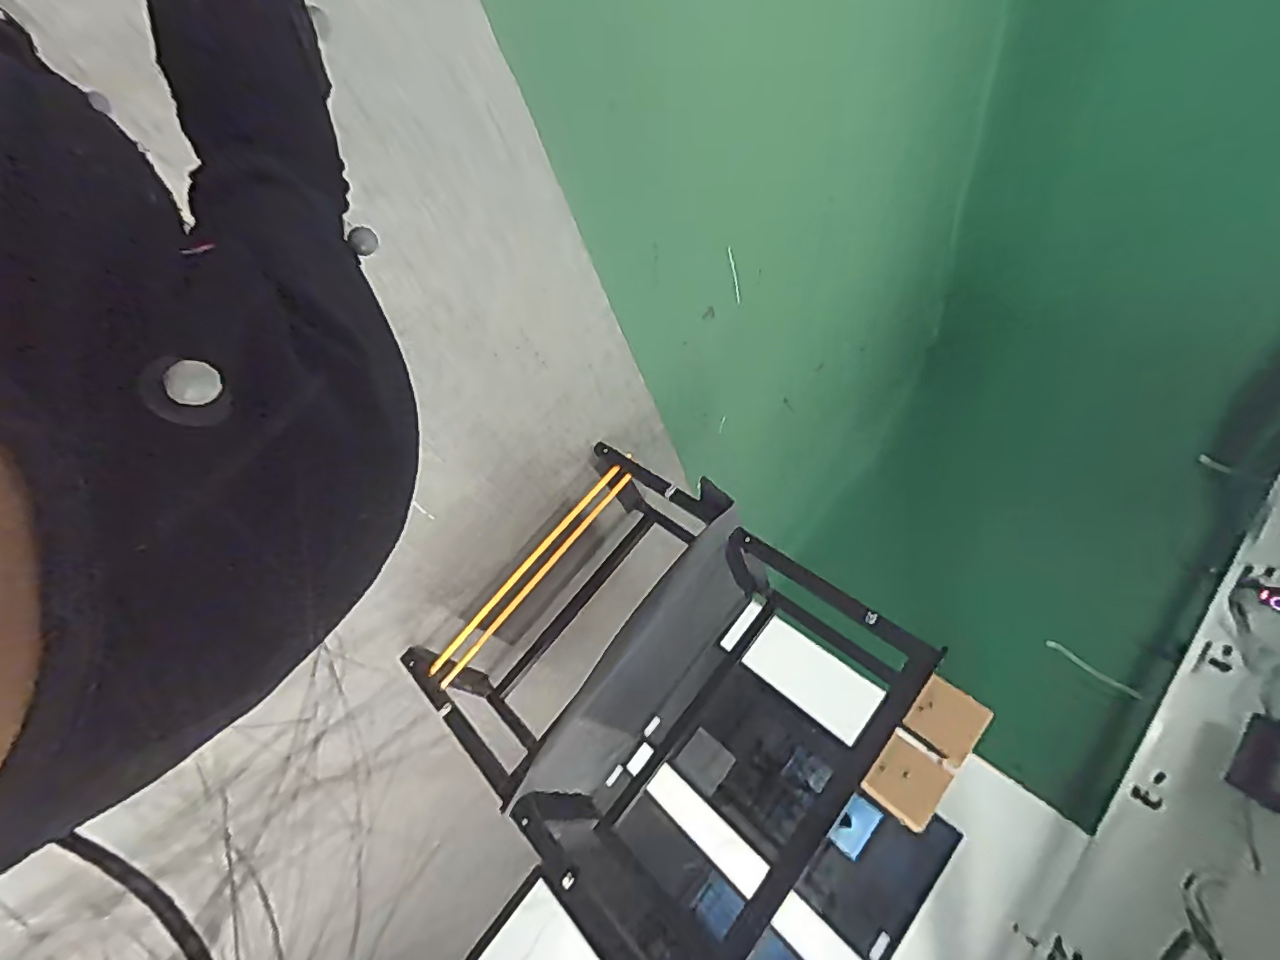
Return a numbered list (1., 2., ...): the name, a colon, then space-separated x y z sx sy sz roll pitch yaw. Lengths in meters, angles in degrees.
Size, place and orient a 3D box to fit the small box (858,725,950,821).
1. small box: 0.730 0.814 1.509 0.168 0.176 0.179 -48 146 -13
